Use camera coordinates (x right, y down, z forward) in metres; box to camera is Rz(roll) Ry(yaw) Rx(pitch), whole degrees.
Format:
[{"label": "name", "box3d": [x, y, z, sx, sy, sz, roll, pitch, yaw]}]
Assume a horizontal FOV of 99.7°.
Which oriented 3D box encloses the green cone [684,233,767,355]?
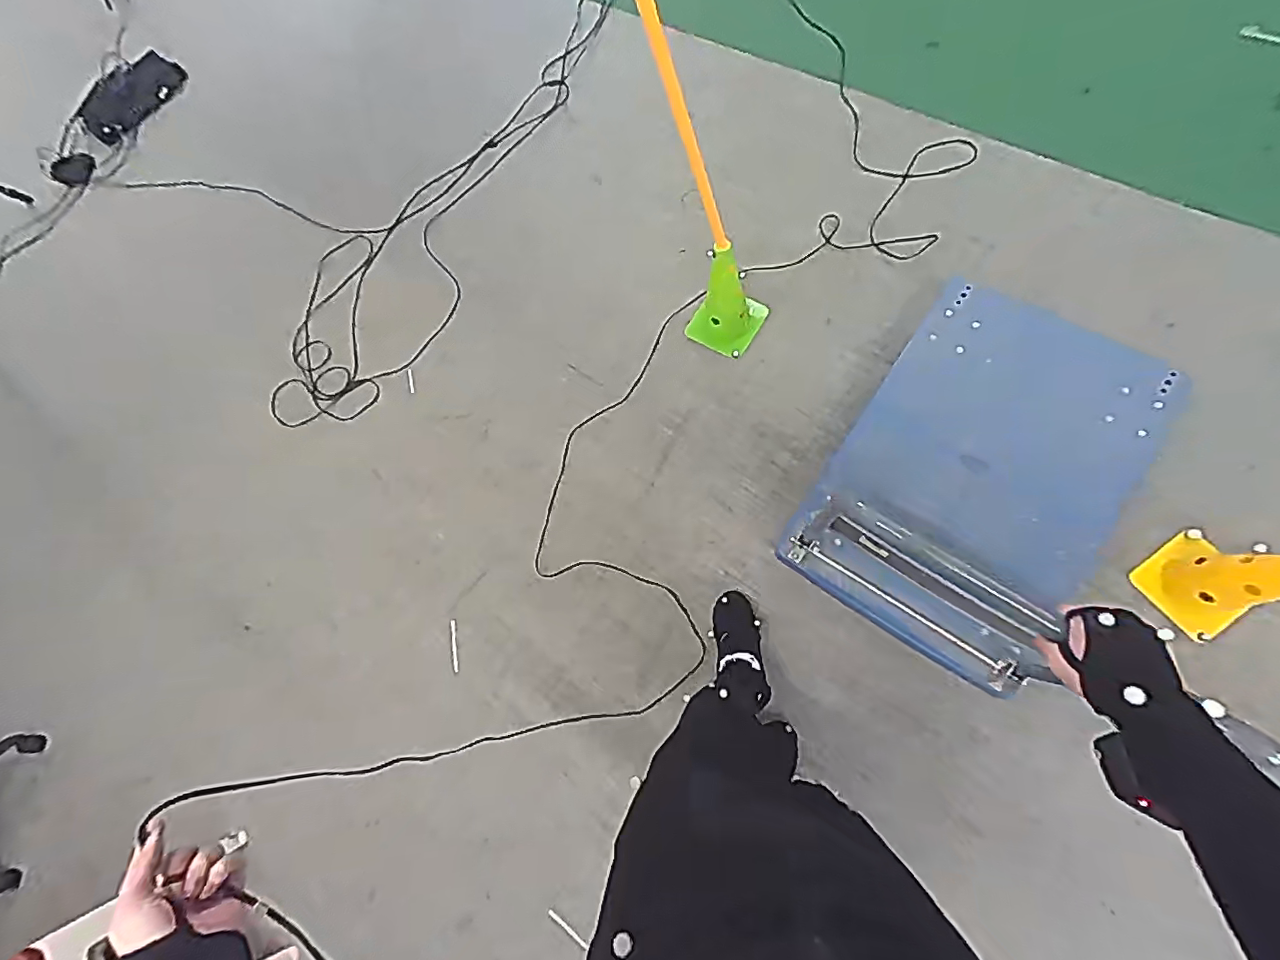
[{"label": "green cone", "box3d": [0.226, -0.543, 1.498, 0.202, 0.368, 0.200, 30, 82, 19]}]
